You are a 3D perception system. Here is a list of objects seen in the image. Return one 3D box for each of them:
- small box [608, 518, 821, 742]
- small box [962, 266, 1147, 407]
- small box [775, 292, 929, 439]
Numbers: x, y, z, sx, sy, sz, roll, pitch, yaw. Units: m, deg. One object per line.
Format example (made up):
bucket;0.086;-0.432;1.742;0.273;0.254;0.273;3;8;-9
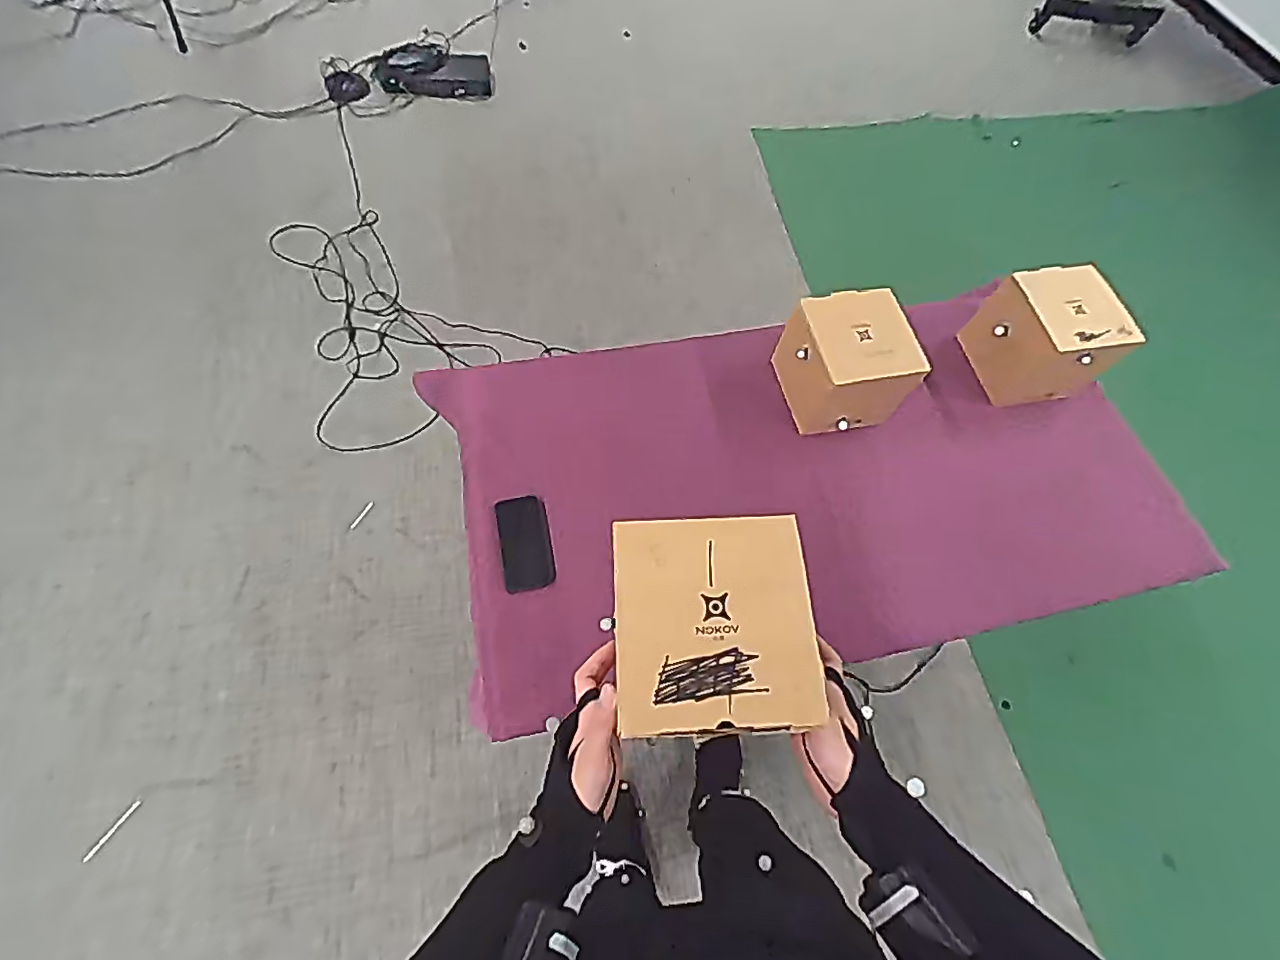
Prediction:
small box;0.056;0.148;0.520;0.168;0.176;0.179;-2;66;-2
small box;0.732;-0.257;0.983;0.168;0.176;0.179;-9;65;-6
small box;0.350;-0.194;0.935;0.168;0.176;0.179;-10;66;-7
